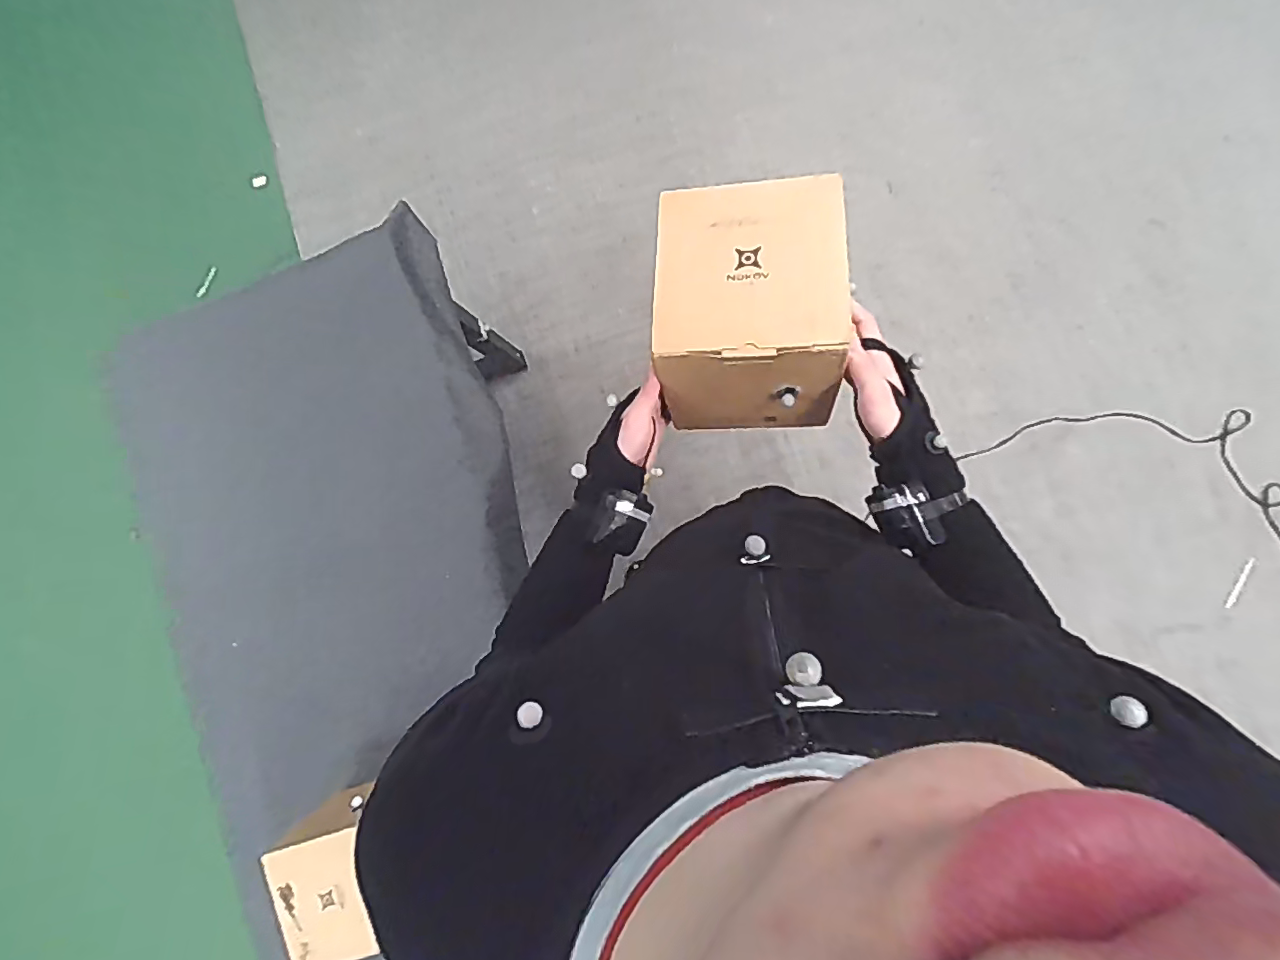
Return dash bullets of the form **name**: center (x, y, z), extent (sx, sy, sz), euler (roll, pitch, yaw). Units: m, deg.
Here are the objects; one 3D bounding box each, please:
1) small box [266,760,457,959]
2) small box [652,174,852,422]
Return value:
- **small box**: center (-0.396, 0.550, 0.804), extent (0.179, 0.176, 0.168), euler (-21, 85, 6)
- **small box**: center (0.109, -0.165, 0.542), extent (0.168, 0.176, 0.179), euler (0, 72, 10)
